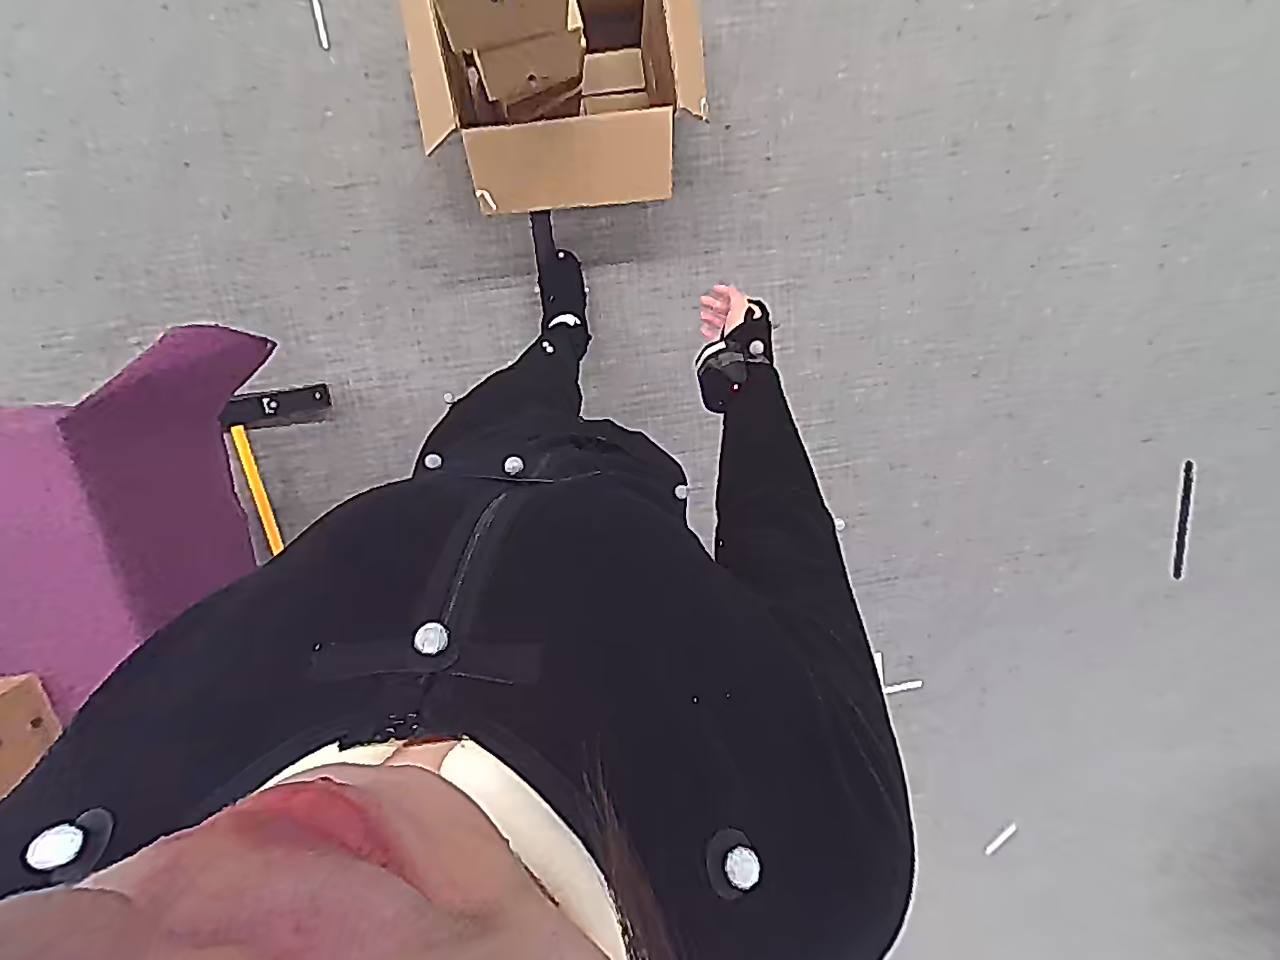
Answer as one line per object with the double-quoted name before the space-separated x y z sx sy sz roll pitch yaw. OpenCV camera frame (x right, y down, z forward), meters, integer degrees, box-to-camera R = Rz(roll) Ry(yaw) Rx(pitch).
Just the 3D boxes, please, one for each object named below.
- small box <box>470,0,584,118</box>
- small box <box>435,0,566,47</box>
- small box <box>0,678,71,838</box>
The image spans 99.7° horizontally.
"small box" -0.219 -0.815 1.000 0.179 0.176 0.168 -29 108 0
"small box" -0.196 -0.697 0.692 0.179 0.176 0.168 -16 109 -5
"small box" -0.883 0.369 0.674 0.179 0.176 0.168 -8 104 -3
